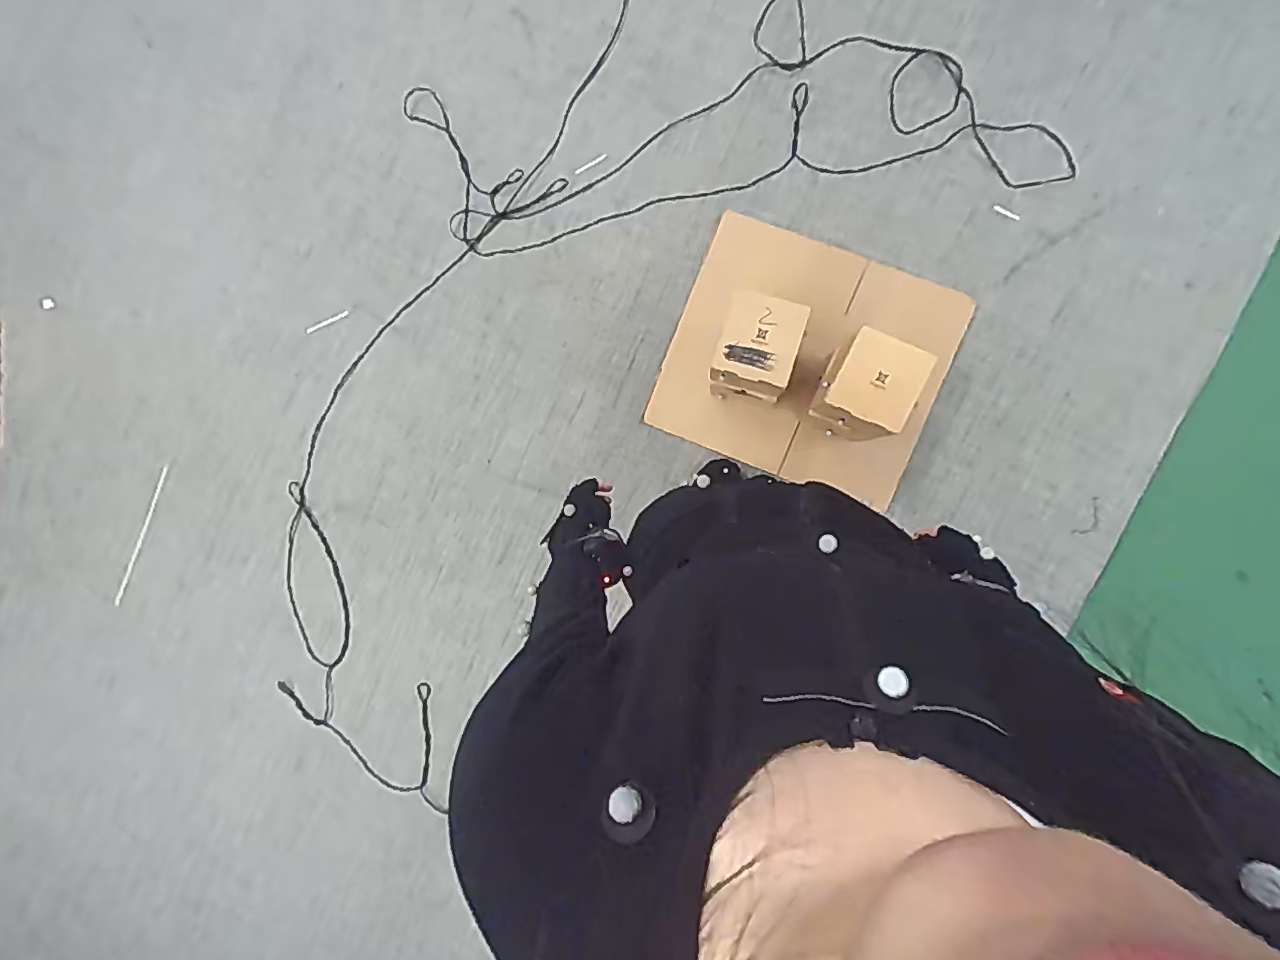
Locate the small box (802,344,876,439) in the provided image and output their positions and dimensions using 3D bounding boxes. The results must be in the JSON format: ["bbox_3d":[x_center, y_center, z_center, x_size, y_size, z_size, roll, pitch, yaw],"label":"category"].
[{"bbox_3d":[0.517,-0.211,1.338,0.168,0.176,0.179,23,95,7],"label":"small box"}]

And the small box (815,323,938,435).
[{"bbox_3d":[0.501,-0.211,1.176,0.168,0.176,0.179,26,96,6],"label":"small box"}]

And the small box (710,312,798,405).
[{"bbox_3d":[0.282,-0.296,1.361,0.168,0.176,0.179,18,94,6],"label":"small box"}]
